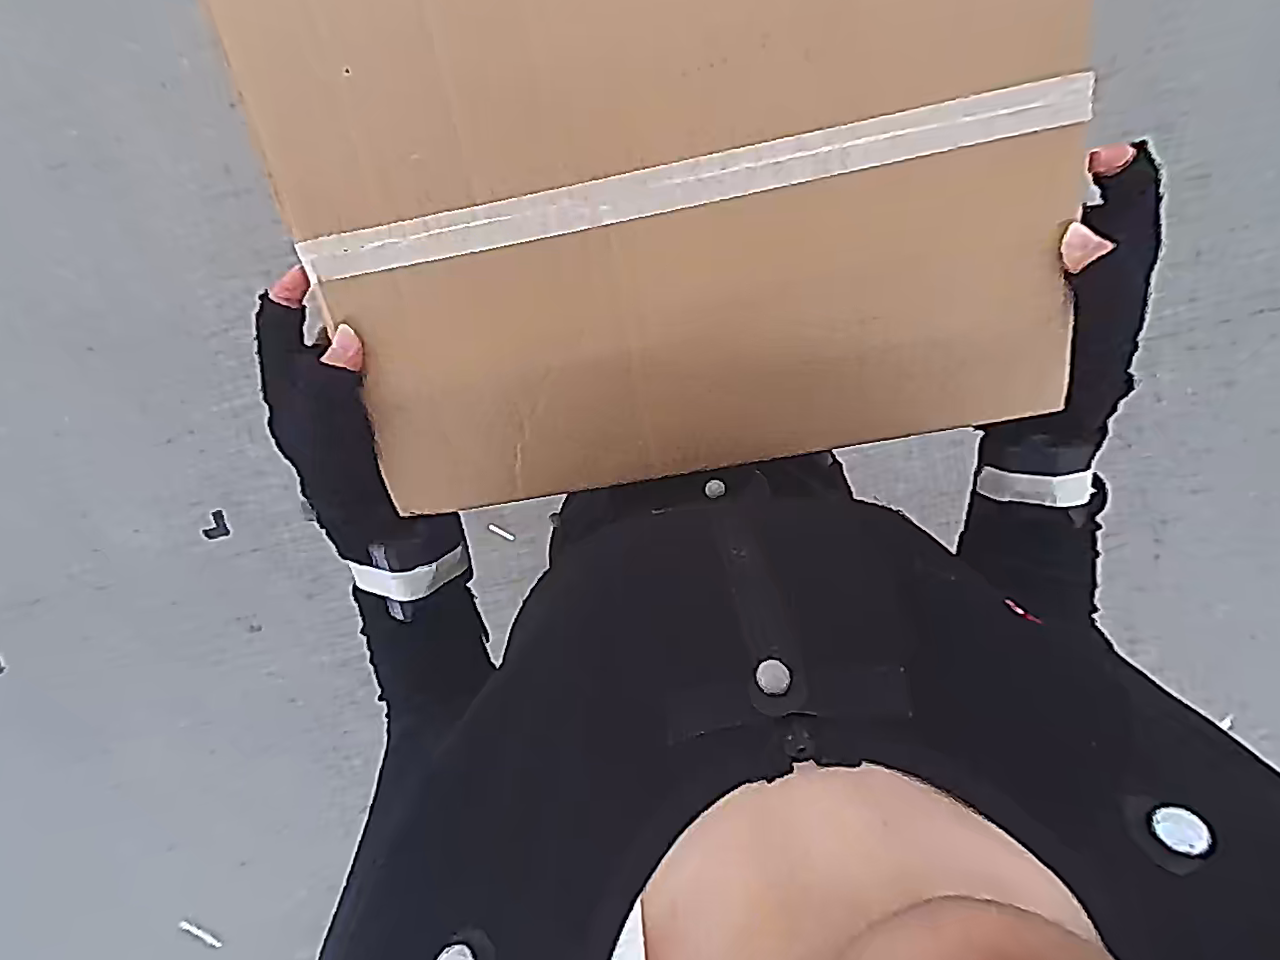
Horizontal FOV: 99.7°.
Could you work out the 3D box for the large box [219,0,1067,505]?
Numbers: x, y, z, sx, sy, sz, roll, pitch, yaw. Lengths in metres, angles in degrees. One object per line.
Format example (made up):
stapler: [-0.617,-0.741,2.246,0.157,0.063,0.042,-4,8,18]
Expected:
large box: [0.018,-0.211,0.425,0.408,0.320,0.320,-10,110,5]
